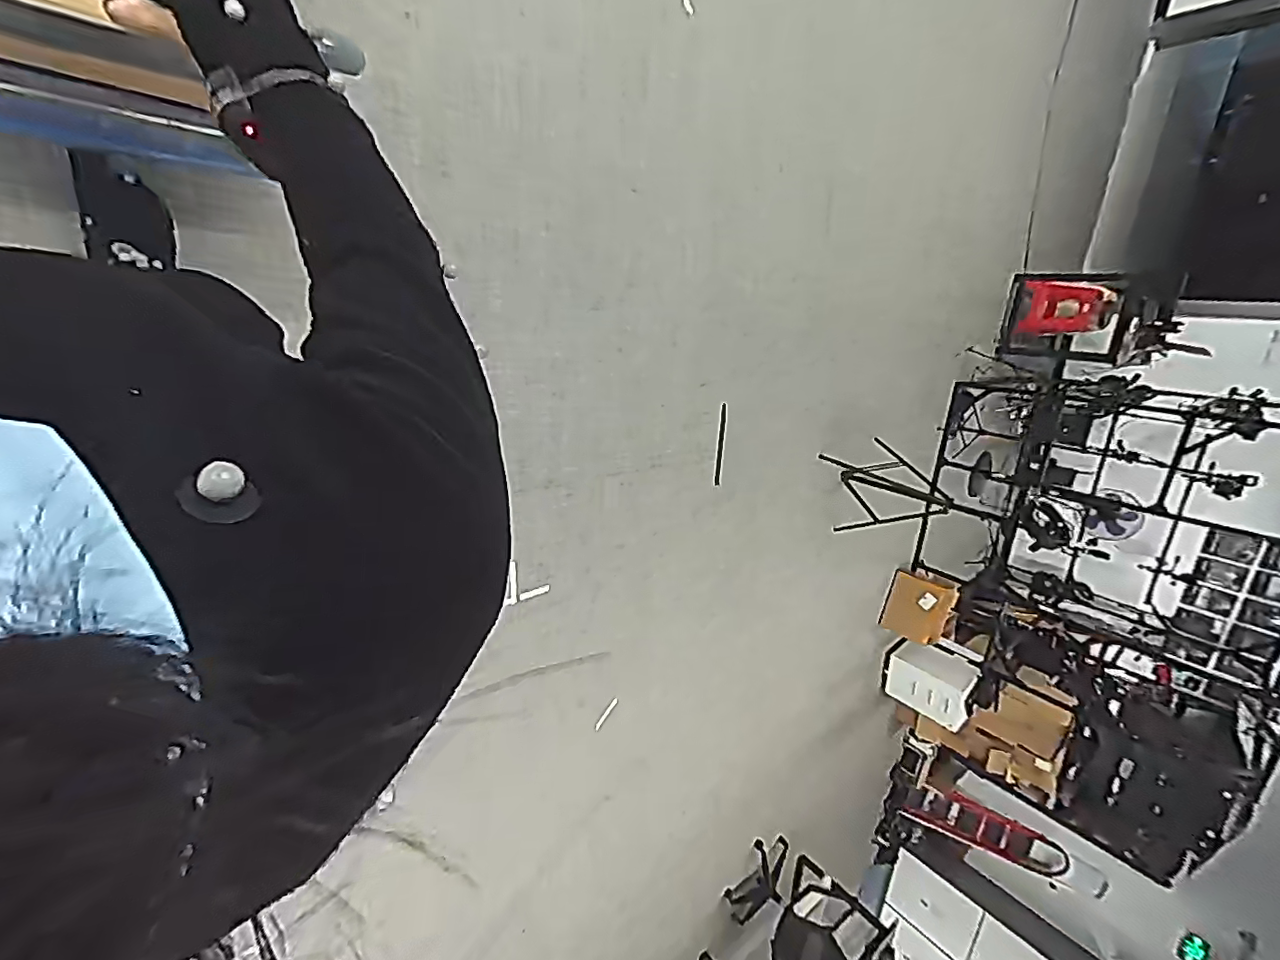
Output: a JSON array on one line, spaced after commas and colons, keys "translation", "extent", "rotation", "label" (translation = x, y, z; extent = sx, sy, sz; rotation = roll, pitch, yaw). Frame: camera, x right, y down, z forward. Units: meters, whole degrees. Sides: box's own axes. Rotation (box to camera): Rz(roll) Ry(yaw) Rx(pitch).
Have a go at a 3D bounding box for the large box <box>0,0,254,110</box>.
[{"translation": [-0.761, -0.717, 0.664], "extent": [0.408, 0.320, 0.320], "rotation": [-11, 113, -41], "label": "large box"}]
